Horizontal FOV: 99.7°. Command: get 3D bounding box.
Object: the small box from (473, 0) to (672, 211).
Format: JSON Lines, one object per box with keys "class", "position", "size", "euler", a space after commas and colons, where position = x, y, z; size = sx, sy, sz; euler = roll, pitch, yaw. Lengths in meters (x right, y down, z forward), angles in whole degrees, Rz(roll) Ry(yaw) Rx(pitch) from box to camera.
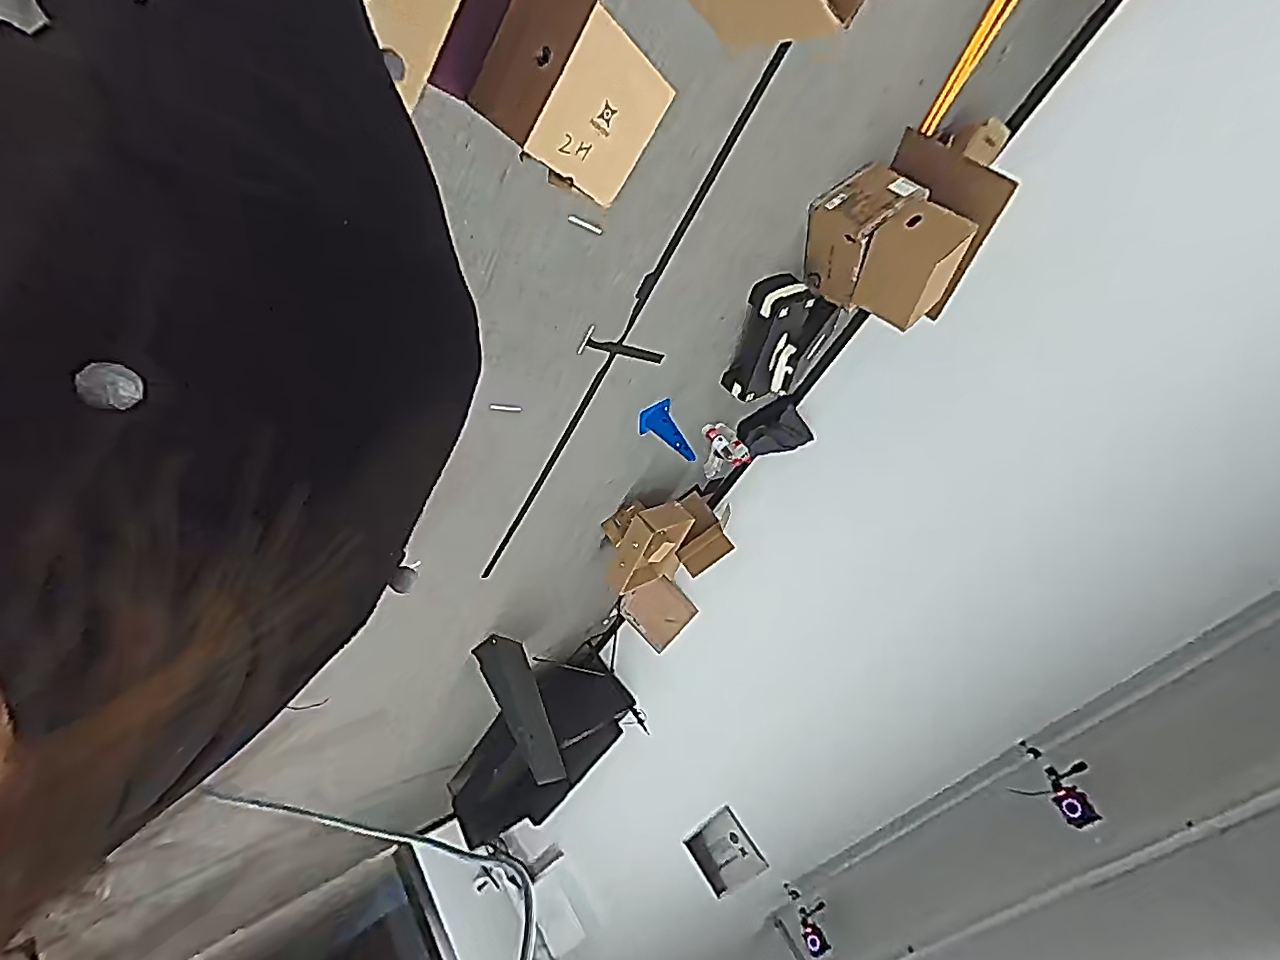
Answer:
{"class": "small box", "position": [-0.096, -0.514, 0.732], "size": [0.168, 0.176, 0.179], "euler": [6, 127, -53]}
